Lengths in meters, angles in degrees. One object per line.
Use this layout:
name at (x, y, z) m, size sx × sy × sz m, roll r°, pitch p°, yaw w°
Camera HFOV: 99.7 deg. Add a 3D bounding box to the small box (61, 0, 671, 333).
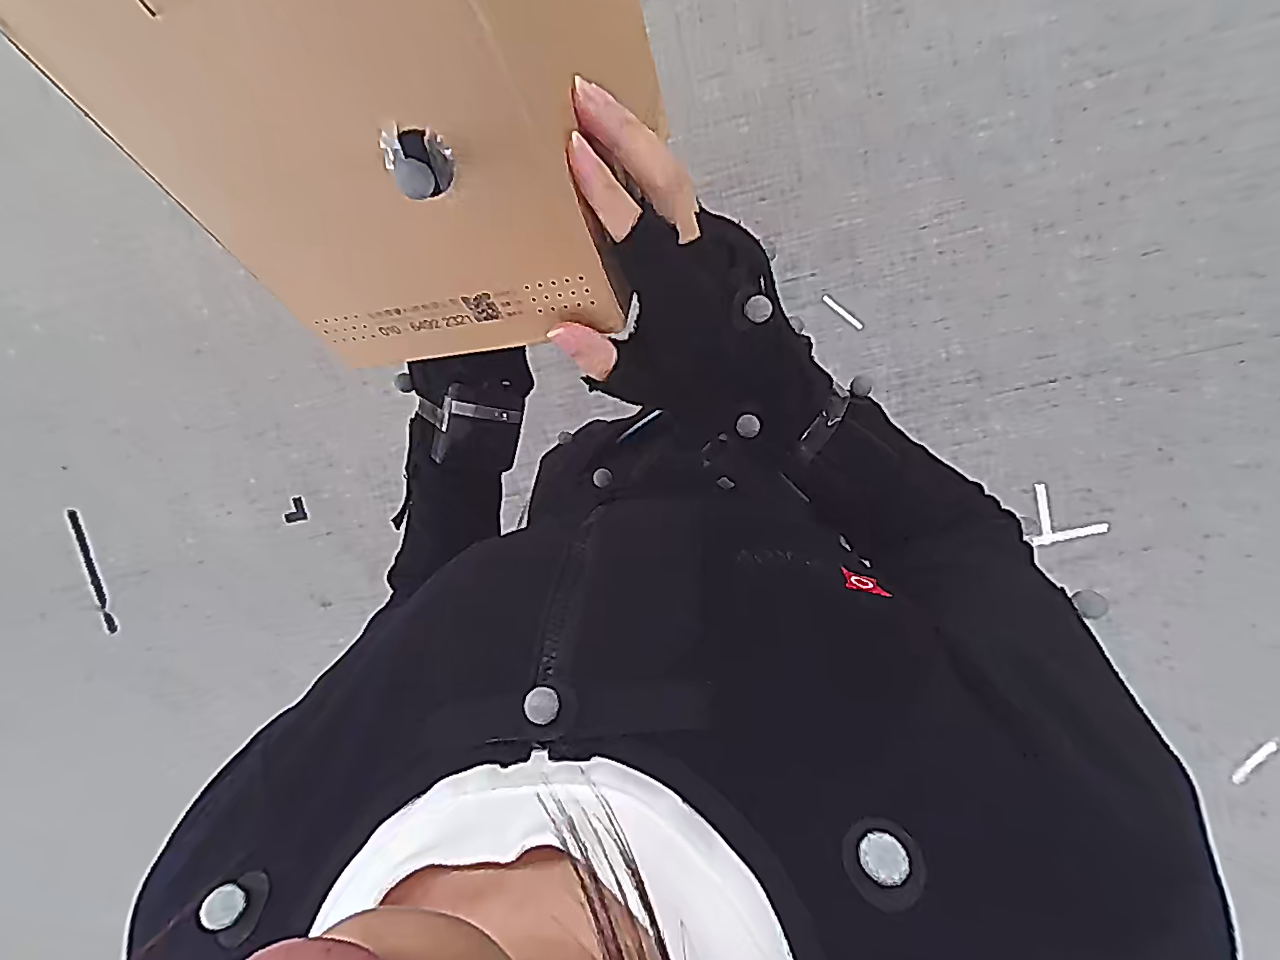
small box at (-0.089, -0.190, 0.267) m, size 0.168 × 0.176 × 0.179 m, roll -1°, pitch 57°, yaw 19°
